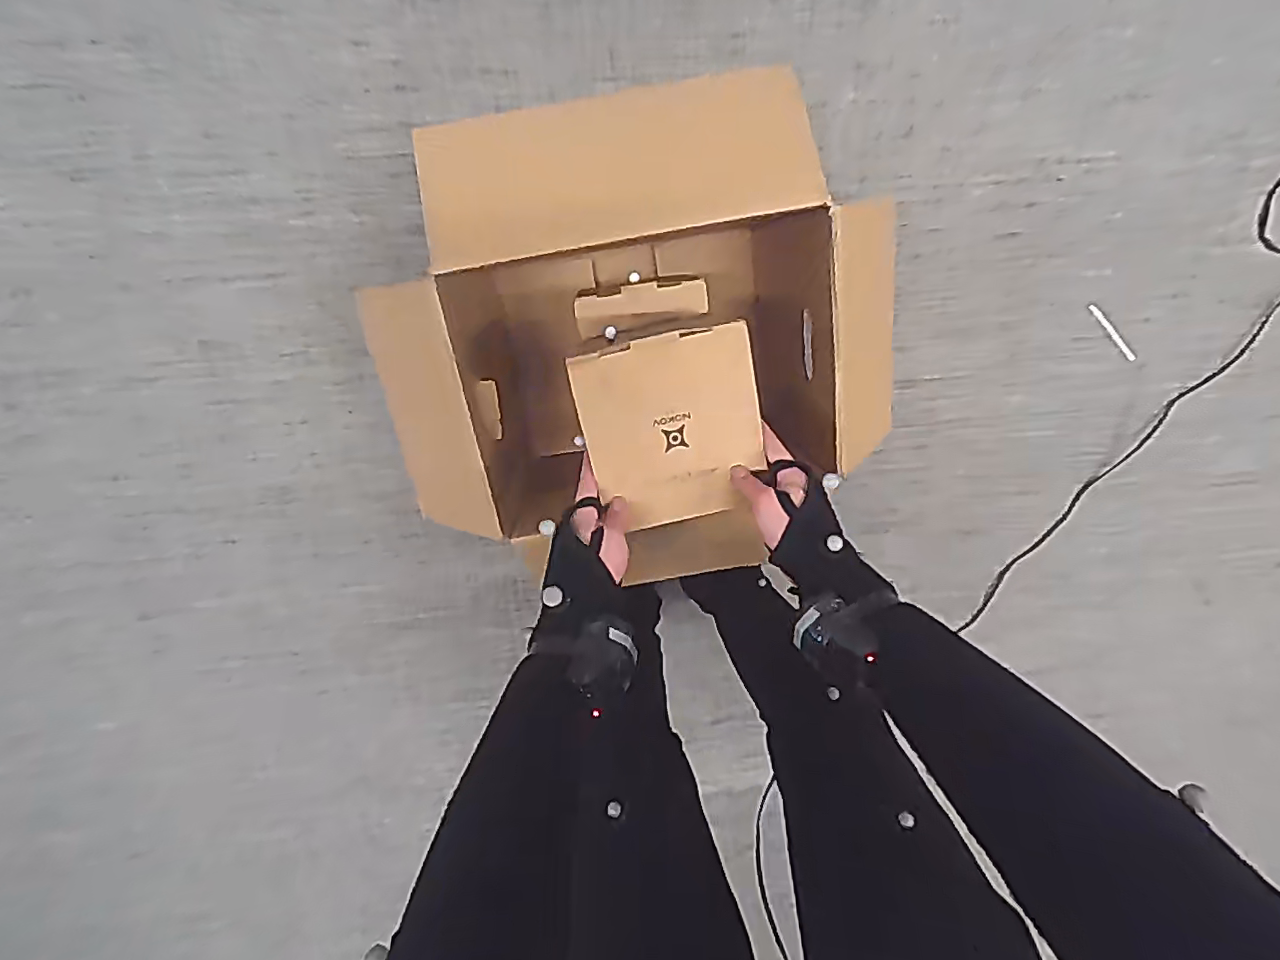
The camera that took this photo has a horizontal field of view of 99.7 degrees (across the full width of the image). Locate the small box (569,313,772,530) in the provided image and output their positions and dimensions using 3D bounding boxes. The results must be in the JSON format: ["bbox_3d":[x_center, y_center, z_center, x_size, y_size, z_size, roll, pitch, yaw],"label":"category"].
[{"bbox_3d":[0.026,-0.074,0.574,0.168,0.176,0.179,-13,111,1],"label":"small box"}]
